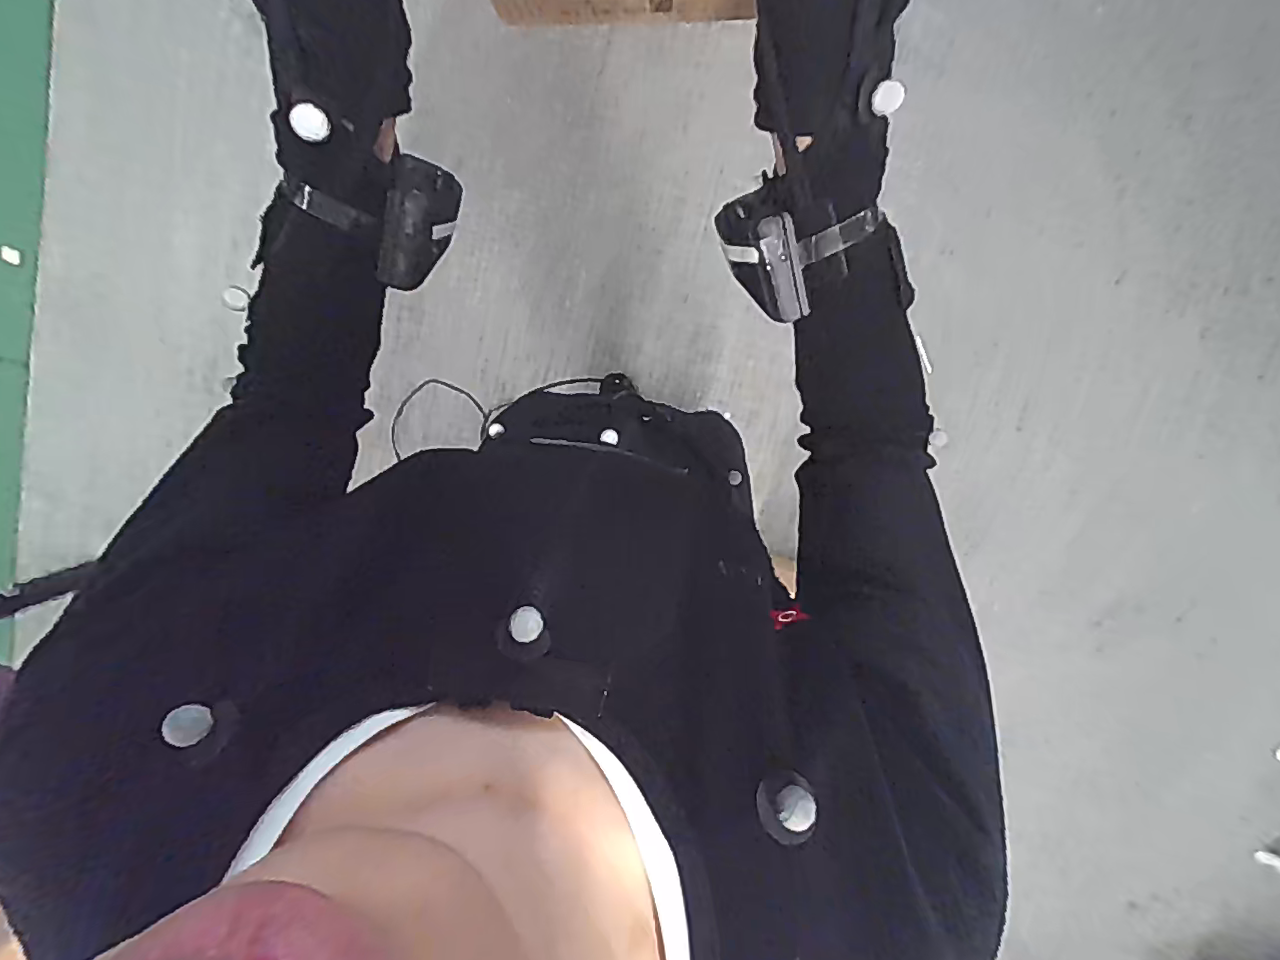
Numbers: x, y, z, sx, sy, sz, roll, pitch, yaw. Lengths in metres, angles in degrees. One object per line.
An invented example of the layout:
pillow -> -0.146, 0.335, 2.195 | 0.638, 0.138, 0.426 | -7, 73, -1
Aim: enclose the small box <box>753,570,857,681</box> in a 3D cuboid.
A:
small box -> 0.375, 0.330, 1.265 | 0.168, 0.176, 0.179 | 15, 100, -1
